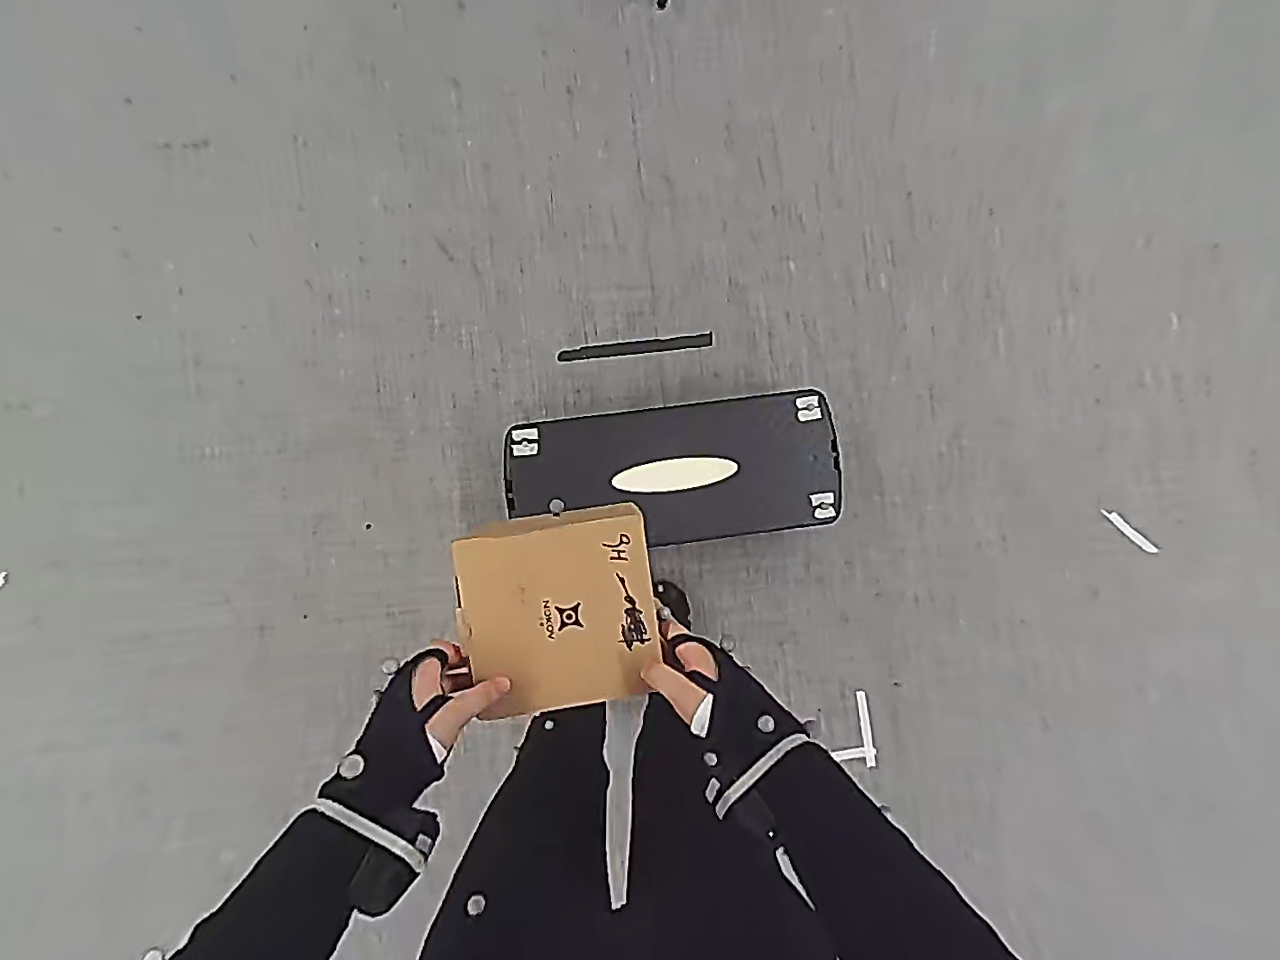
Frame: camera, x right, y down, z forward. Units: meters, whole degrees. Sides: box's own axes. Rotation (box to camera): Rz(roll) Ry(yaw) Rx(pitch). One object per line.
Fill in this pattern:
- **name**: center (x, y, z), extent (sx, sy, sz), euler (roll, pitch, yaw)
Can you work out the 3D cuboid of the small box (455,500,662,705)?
- **small box**: center (-0.077, 0.116, 0.577), extent (0.179, 0.176, 0.168), euler (-8, 92, -3)
